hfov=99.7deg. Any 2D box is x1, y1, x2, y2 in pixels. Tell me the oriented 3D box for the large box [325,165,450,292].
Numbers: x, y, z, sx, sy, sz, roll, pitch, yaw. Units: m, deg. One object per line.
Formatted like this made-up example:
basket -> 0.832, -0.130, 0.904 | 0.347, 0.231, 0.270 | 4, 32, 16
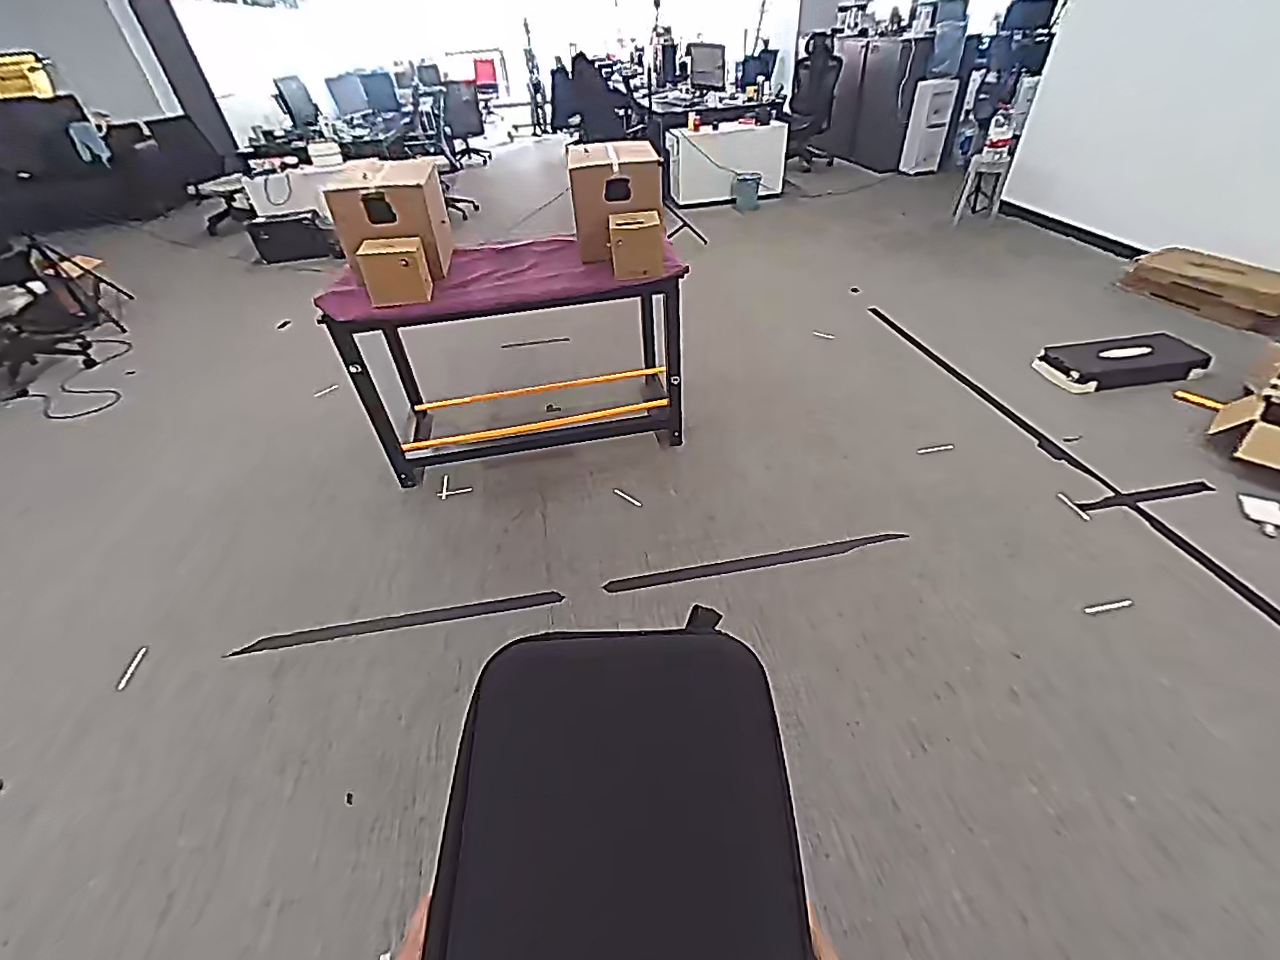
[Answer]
large box -> -0.892, -0.927, 1.976 | 0.320, 0.320, 0.408 | -9, 43, -7
